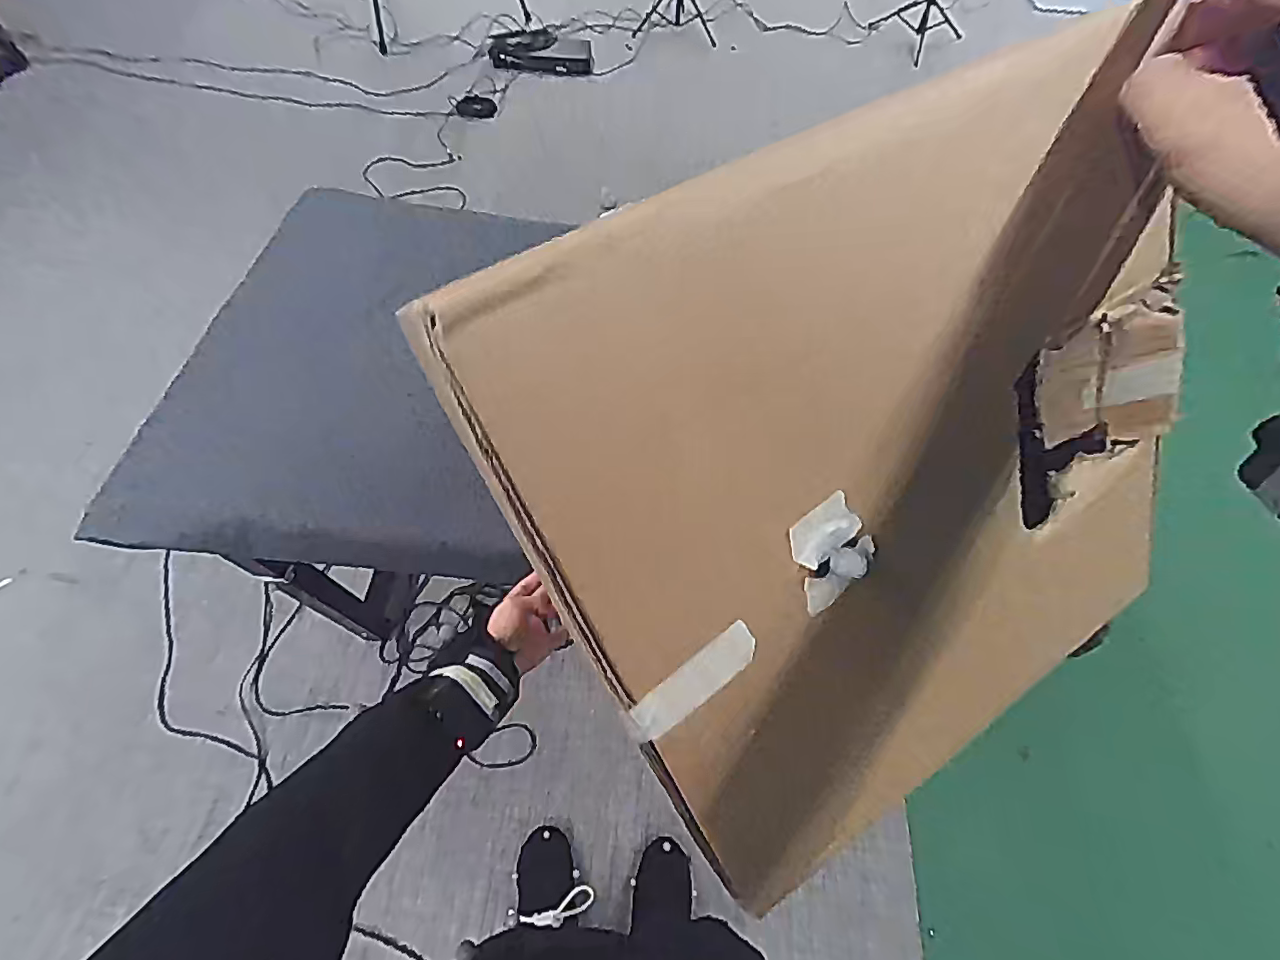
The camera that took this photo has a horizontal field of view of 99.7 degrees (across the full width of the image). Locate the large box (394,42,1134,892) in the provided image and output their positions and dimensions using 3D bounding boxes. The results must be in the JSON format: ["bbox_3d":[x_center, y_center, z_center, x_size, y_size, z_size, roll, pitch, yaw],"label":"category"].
[{"bbox_3d":[0.046,-0.033,0.413,0.320,0.320,0.408,-31,27,-16],"label":"large box"}]
